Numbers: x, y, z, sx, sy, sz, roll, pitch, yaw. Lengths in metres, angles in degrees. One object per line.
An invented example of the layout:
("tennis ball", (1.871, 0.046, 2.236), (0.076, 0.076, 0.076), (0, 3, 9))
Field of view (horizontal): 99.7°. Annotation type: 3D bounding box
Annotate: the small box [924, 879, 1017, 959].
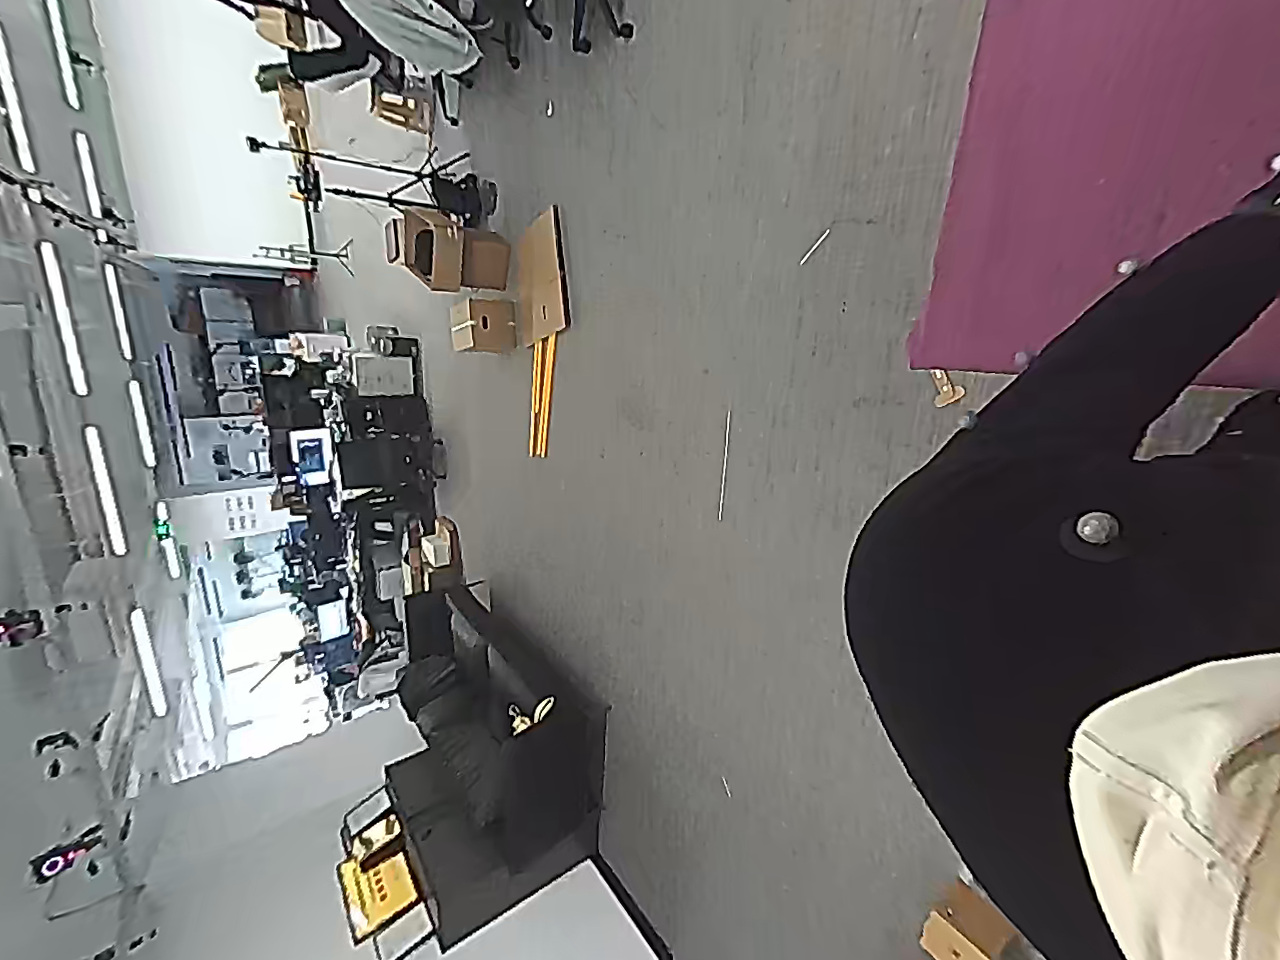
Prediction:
("small box", (1.012, 1.385, 1.652), (0.179, 0.176, 0.168), (27, 120, 49))
